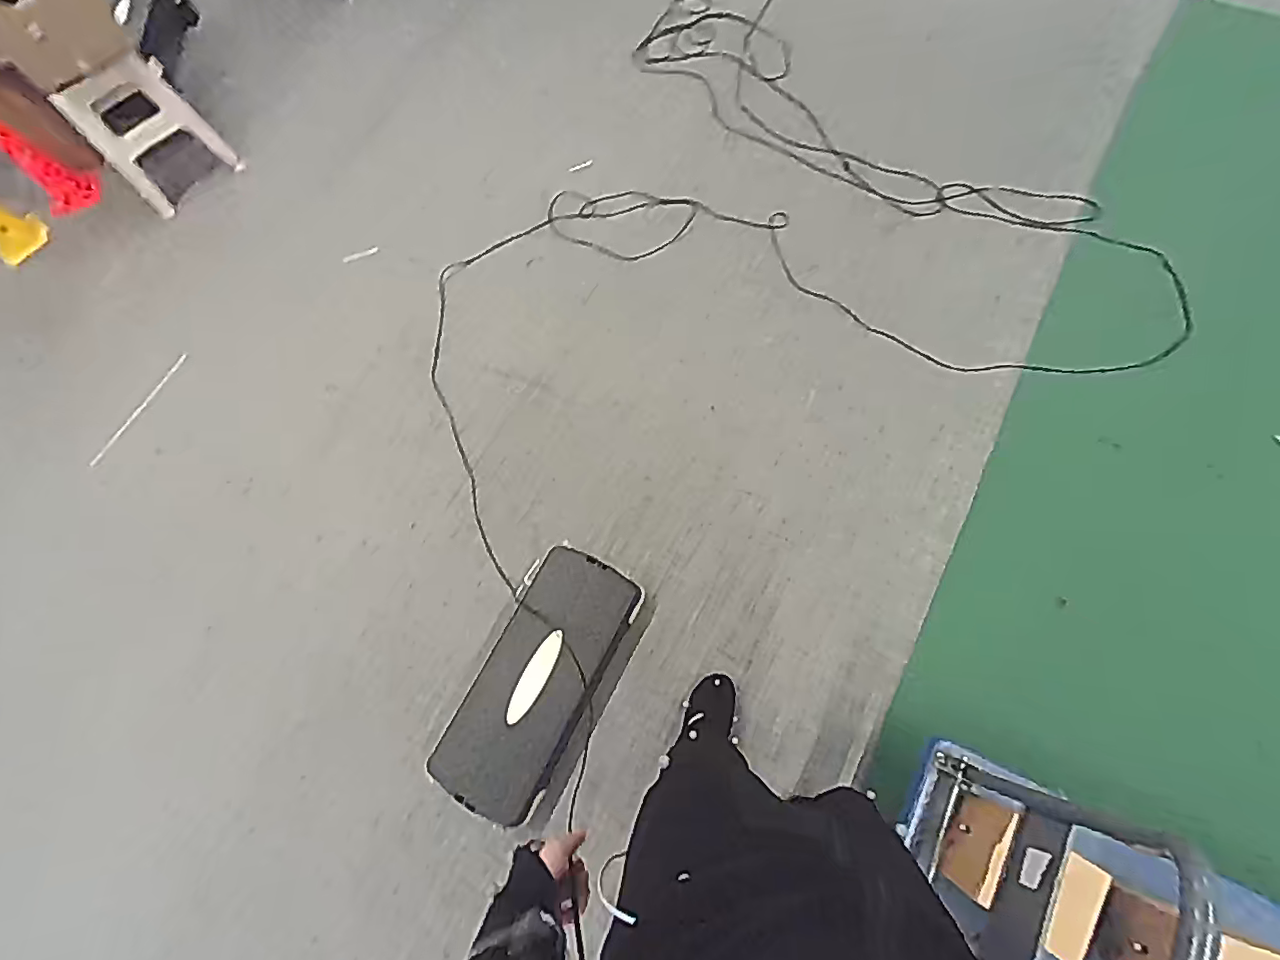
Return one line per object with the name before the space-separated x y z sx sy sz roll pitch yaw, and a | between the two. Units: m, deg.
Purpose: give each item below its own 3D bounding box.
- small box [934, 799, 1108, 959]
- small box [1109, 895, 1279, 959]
small box | 0.692 0.730 1.003 0.179 0.176 0.168 31 77 15
small box | 0.958 0.860 0.932 0.179 0.176 0.168 16 74 10
